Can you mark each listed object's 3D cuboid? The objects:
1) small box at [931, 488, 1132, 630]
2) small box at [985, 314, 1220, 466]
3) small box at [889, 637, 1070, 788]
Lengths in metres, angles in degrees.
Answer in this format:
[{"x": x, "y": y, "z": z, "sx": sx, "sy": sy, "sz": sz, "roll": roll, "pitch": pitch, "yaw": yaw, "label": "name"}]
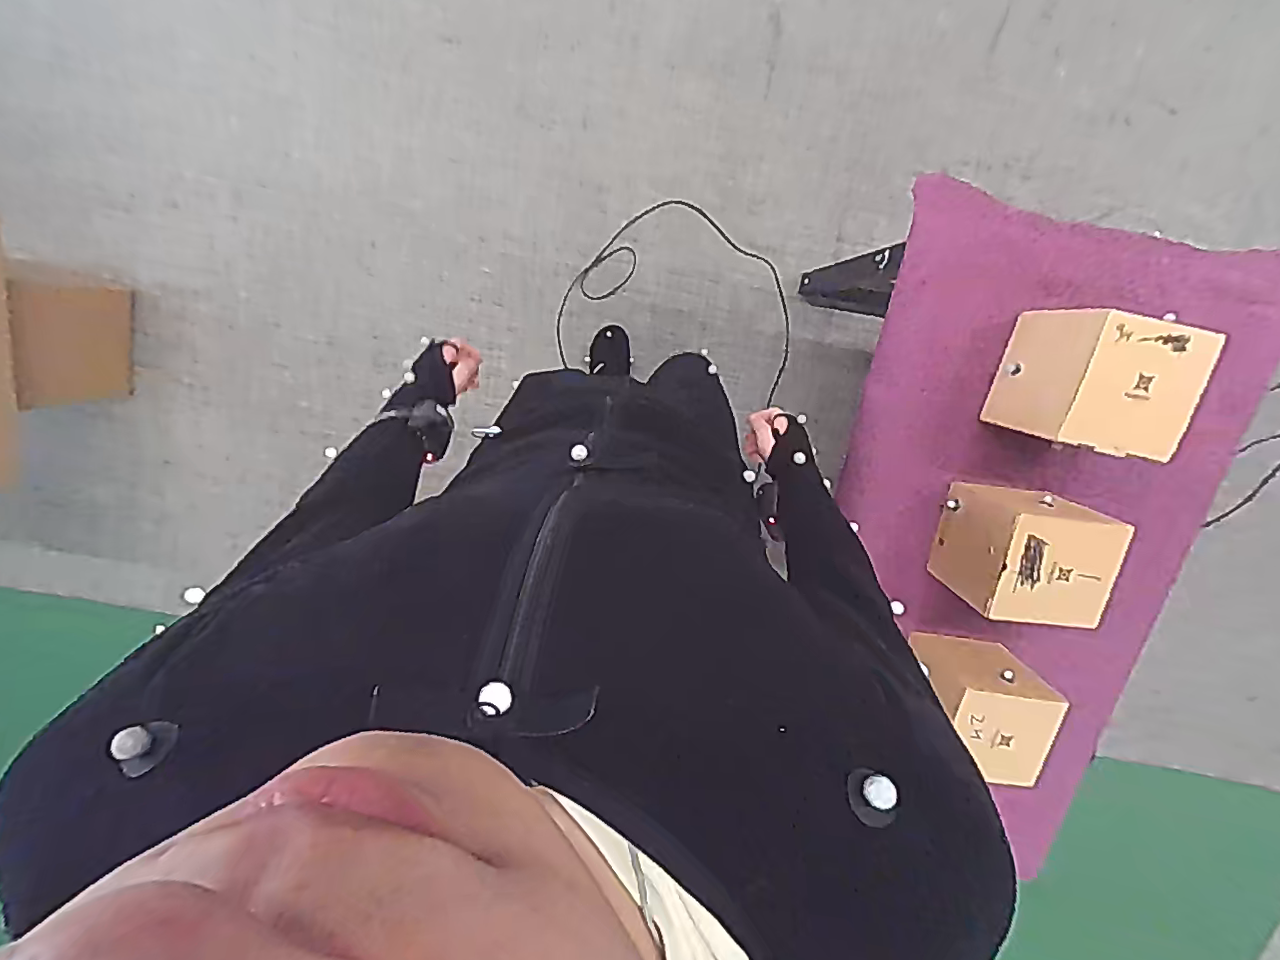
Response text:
[{"x": 0.601, "y": 0.116, "z": 0.858, "sx": 0.179, "sy": 0.176, "sz": 0.168, "roll": 6, "pitch": 105, "yaw": -4, "label": "small box"}, {"x": 0.650, "y": -0.138, "z": 0.790, "sx": 0.168, "sy": 0.176, "sz": 0.179, "roll": 11, "pitch": 106, "yaw": -5, "label": "small box"}, {"x": 0.570, "y": 0.392, "z": 0.933, "sx": 0.179, "sy": 0.176, "sz": 0.168, "roll": 9, "pitch": 104, "yaw": -4, "label": "small box"}]
